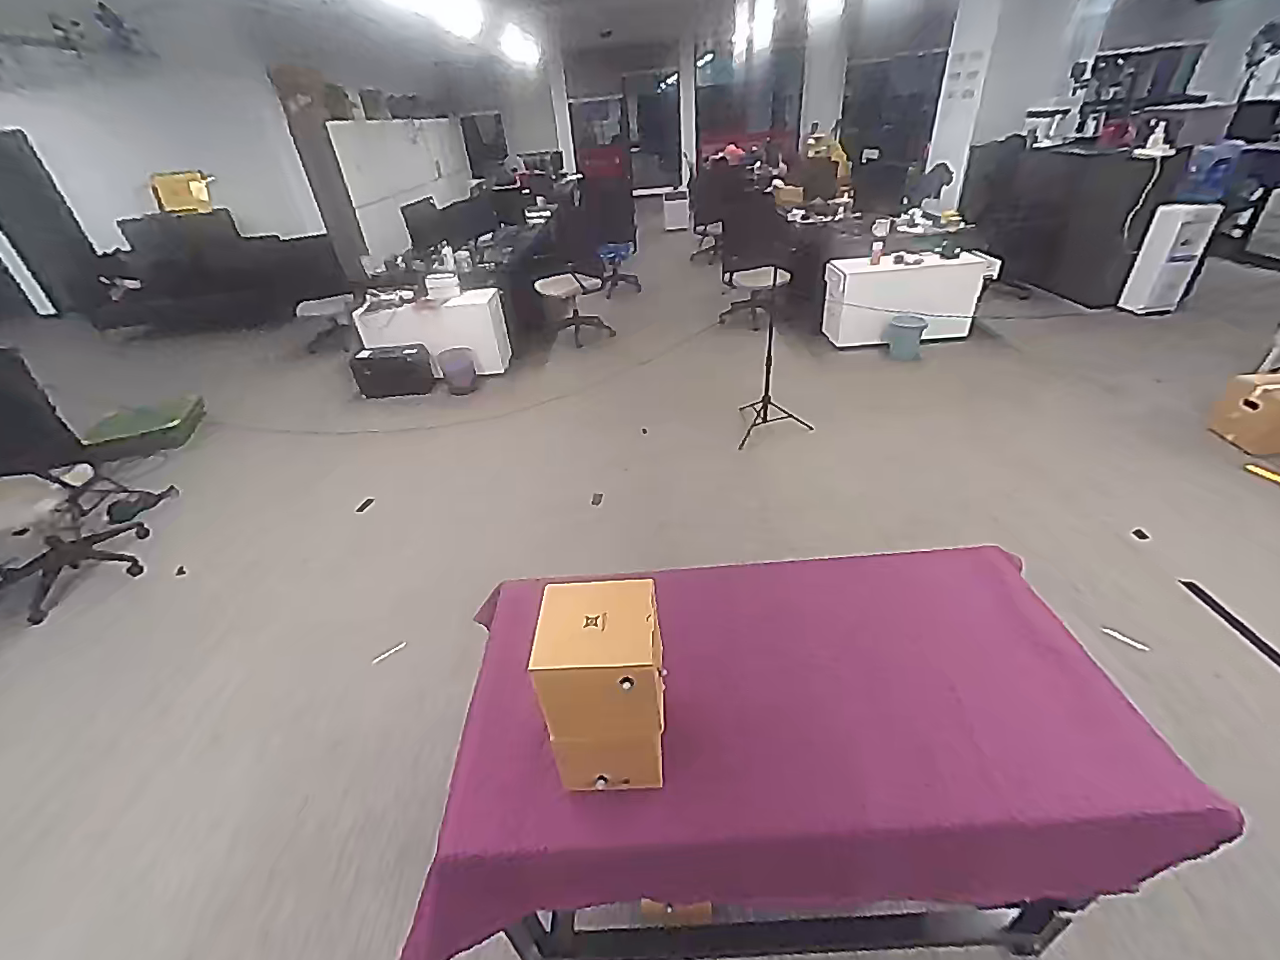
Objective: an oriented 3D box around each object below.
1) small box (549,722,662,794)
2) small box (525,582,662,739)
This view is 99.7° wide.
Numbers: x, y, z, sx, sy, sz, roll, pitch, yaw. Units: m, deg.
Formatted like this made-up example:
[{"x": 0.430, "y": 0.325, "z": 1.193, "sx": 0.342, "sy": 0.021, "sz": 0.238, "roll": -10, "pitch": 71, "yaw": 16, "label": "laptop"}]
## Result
[{"x": -0.050, "y": 0.409, "z": 0.929, "sx": 0.168, "sy": 0.176, "sz": 0.179, "roll": -4, "pitch": 35, "yaw": 3, "label": "small box"}, {"x": -0.060, "y": 0.278, "z": 0.834, "sx": 0.179, "sy": 0.176, "sz": 0.168, "roll": -3, "pitch": 34, "yaw": 4, "label": "small box"}]
